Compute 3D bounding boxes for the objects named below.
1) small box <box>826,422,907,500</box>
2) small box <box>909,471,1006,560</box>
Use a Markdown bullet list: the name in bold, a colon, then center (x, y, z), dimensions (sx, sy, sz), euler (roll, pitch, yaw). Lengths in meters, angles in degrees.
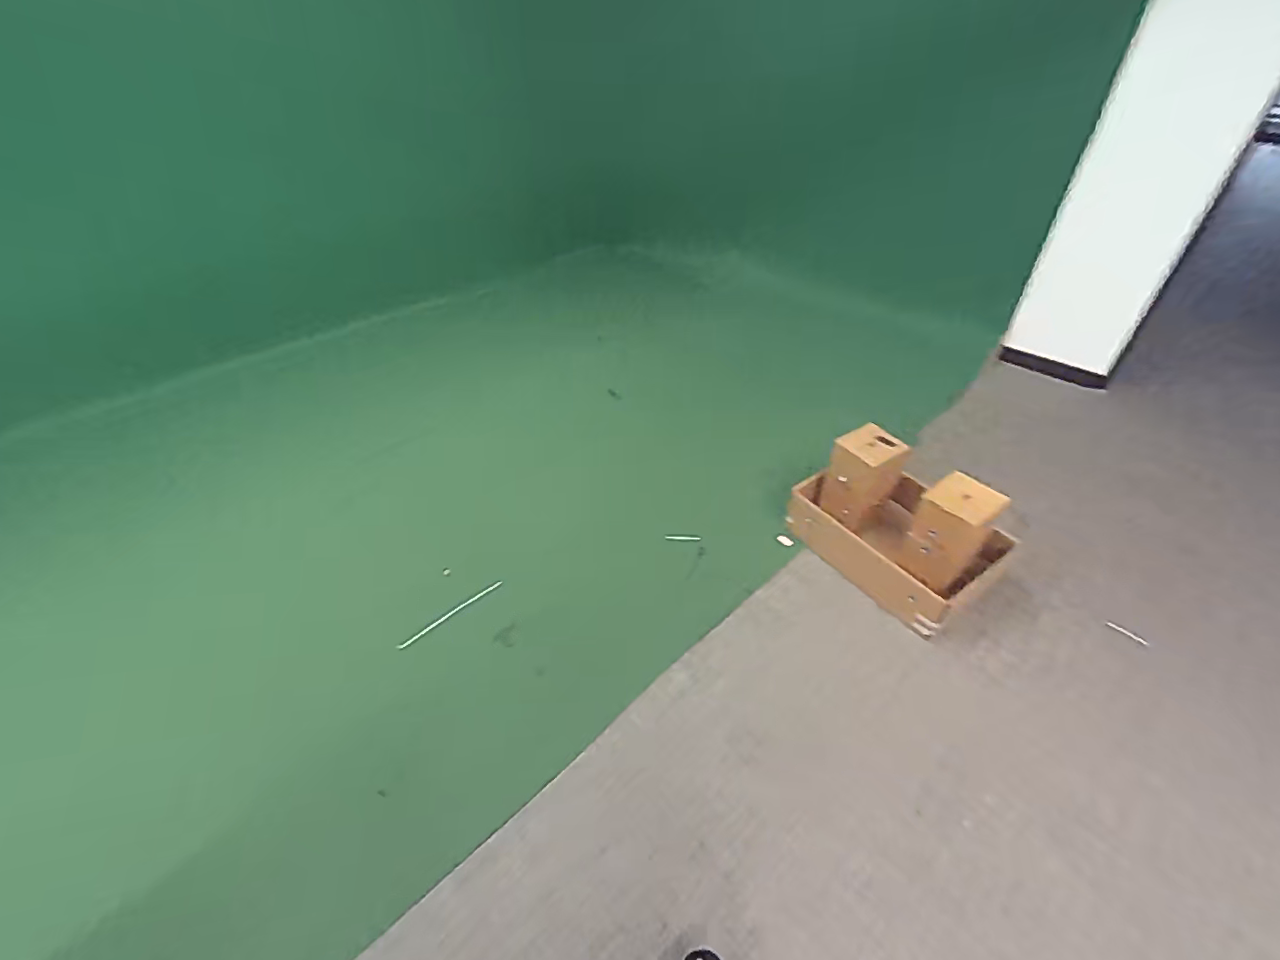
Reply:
- **small box**: center (0.762, -0.064, 1.840), dimensions (0.179, 0.176, 0.168), euler (-25, 47, -20)
- **small box**: center (0.951, 0.108, 1.638), dimensions (0.179, 0.176, 0.168), euler (-28, 47, -23)
